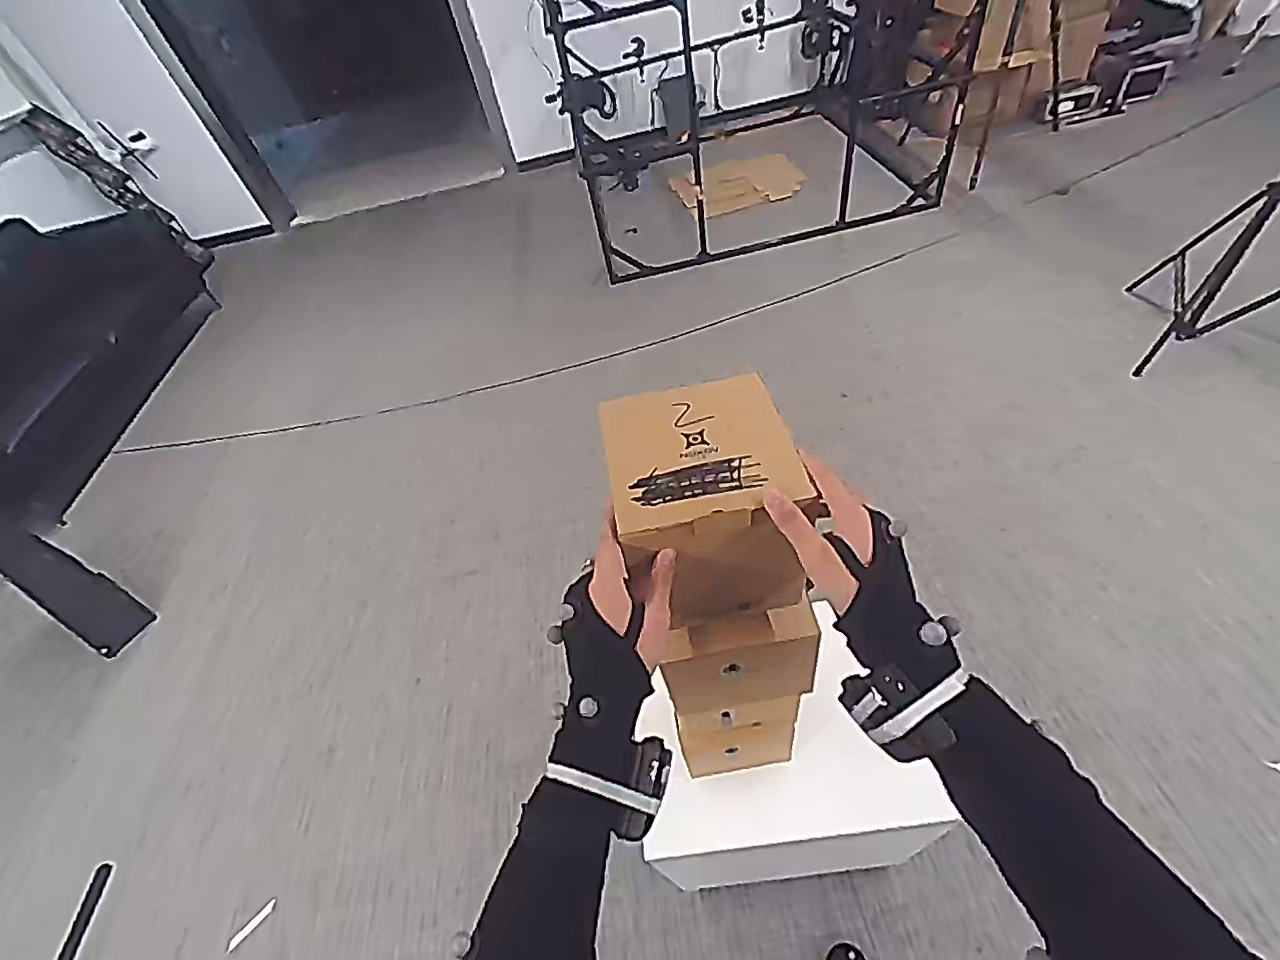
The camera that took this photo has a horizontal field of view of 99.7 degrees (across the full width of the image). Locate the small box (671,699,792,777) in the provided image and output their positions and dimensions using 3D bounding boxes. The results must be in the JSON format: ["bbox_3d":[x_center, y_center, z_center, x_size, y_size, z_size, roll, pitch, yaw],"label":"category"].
[{"bbox_3d":[0.148,0.387,0.922,0.179,0.176,0.168,-11,48,2],"label":"small box"}]

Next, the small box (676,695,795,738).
[{"bbox_3d":[0.131,0.269,0.811,0.168,0.176,0.179,-11,47,3],"label":"small box"}]

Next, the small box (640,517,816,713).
[{"bbox_3d":[0.107,0.174,0.677,0.179,0.176,0.168,-11,48,3],"label":"small box"}]
